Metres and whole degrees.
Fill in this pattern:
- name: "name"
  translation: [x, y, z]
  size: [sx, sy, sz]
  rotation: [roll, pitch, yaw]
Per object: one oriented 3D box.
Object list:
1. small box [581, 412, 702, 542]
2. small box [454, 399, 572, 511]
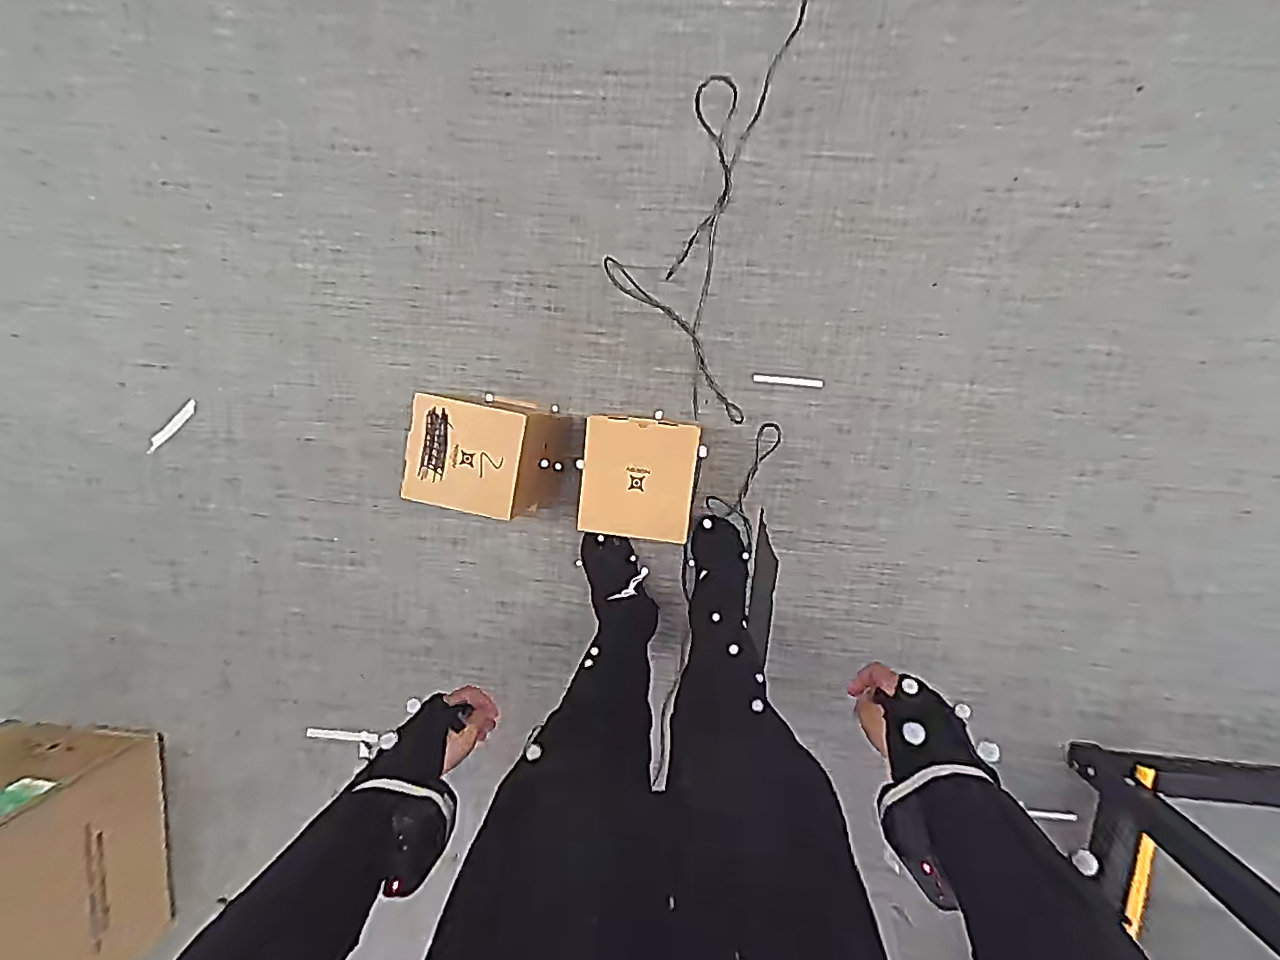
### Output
- name: "small box"
  translation: [0.009, -0.013, 0.867]
  size: [0.168, 0.176, 0.179]
  rotation: [7, 97, 5]
- name: "small box"
  translation: [-0.237, -0.054, 1.047]
  size: [0.168, 0.176, 0.179]
  rotation: [12, 99, 3]
